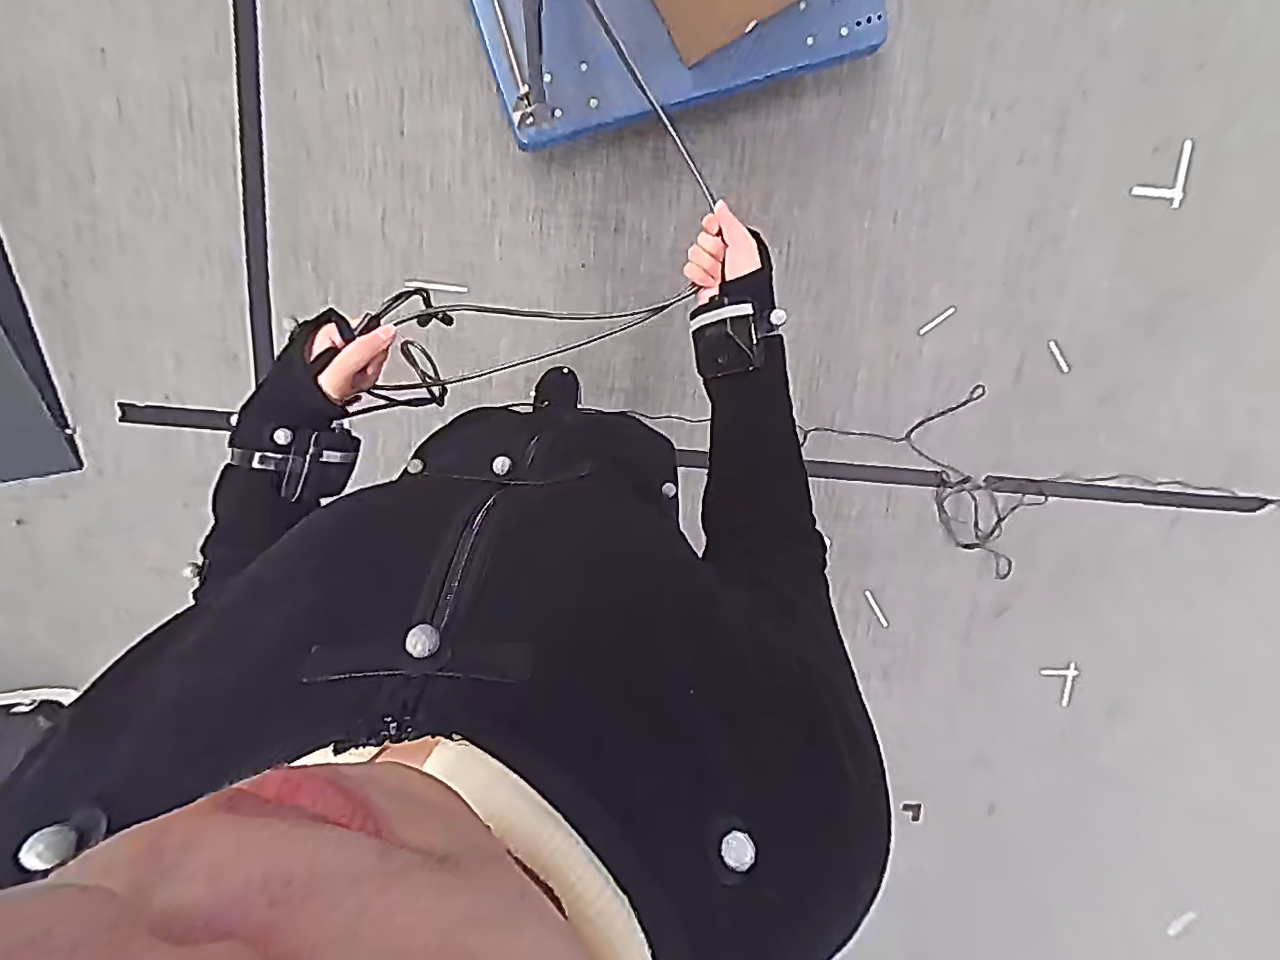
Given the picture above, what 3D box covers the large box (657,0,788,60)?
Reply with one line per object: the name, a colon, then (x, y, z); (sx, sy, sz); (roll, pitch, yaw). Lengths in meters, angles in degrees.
large box: (0.144, -1.111, 0.974); (0.320, 0.320, 0.408); (-31, 104, 1)
